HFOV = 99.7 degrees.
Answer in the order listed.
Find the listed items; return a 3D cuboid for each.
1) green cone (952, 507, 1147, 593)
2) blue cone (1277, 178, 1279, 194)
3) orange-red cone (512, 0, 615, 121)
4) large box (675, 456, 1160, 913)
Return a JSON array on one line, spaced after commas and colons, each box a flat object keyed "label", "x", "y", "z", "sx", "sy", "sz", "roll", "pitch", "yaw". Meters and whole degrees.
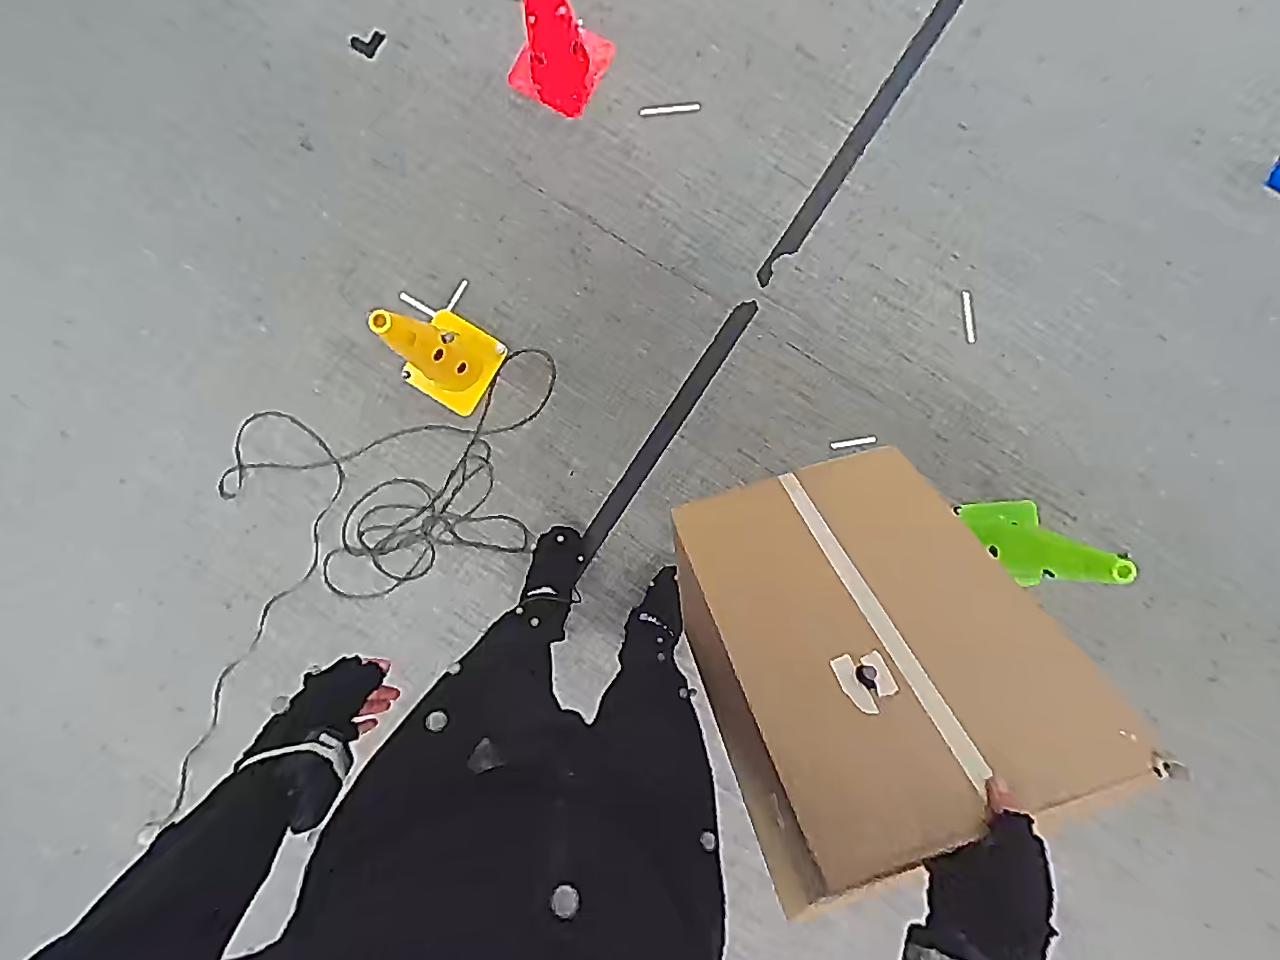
[{"label": "green cone", "x": 0.830, "y": 0.170, "z": 1.088, "sx": 0.202, "sy": 0.368, "sz": 0.200, "roll": -5, "pitch": 91, "yaw": 1}, {"label": "blue cone", "x": 1.571, "y": -0.686, "z": 1.071, "sx": 0.192, "sy": 0.380, "sz": 0.193, "roll": 36, "pitch": 92, "yaw": 0}, {"label": "orange-red cone", "x": -0.193, "y": -0.977, "z": 1.122, "sx": 0.198, "sy": 0.360, "sz": 0.199, "roll": 31, "pitch": 93, "yaw": 3}, {"label": "large box", "x": 0.256, "y": 0.240, "z": 0.679, "sx": 0.320, "sy": 0.320, "sz": 0.408, "roll": -16, "pitch": 48, "yaw": -6}]
